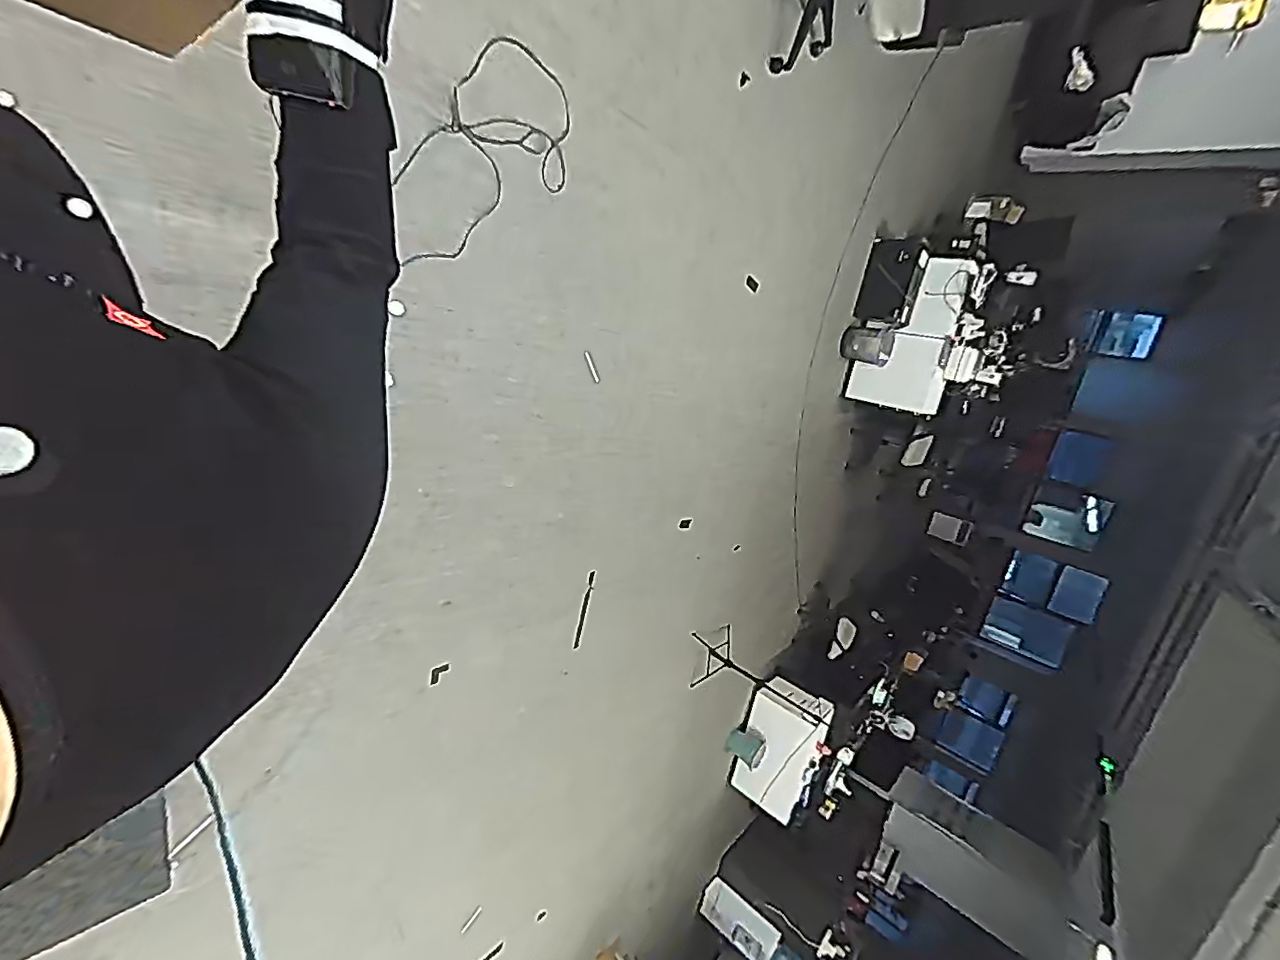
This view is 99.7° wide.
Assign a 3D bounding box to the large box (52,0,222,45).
[{"bbox_3d":[-0.426,-0.492,0.230,0.408,0.320,0.320,-9,111,-51],"label":"large box"}]
